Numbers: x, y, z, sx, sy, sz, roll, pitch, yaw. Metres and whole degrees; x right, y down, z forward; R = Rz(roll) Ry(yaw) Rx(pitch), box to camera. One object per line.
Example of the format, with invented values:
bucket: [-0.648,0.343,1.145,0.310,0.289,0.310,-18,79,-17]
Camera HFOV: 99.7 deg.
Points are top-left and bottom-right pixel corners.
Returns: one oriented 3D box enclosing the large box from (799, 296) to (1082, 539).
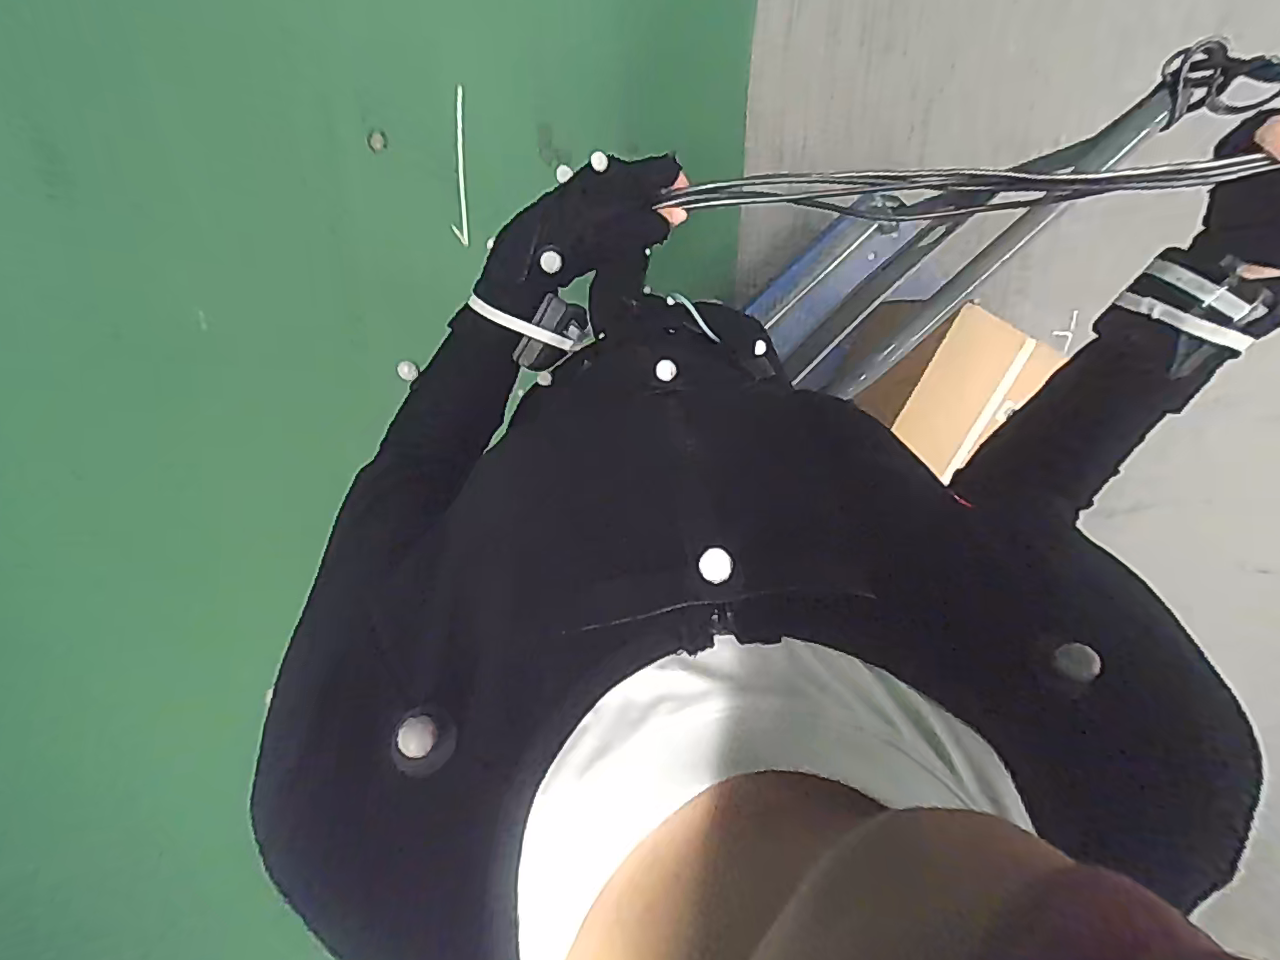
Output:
large box: [0.622,-0.145,1.195,0.320,0.320,0.408,23,103,-14]
